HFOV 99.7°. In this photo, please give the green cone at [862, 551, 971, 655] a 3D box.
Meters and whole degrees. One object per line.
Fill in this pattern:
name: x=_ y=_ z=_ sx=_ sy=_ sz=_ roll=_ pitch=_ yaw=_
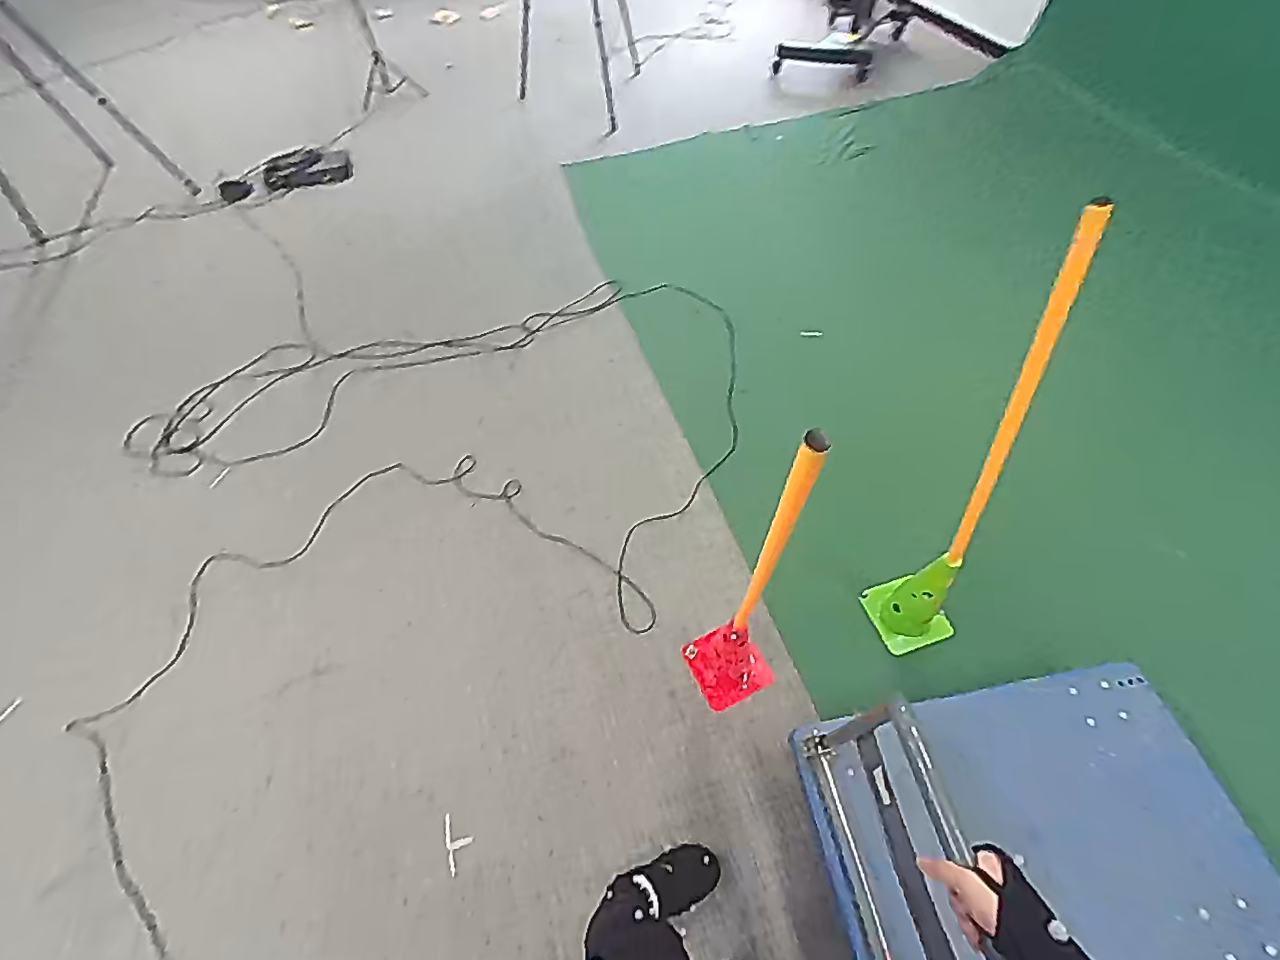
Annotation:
green cone: x=0.763 y=0.292 z=1.418 sx=0.202 sy=0.368 sz=0.200 roll=-16 pitch=56 yaw=-8
